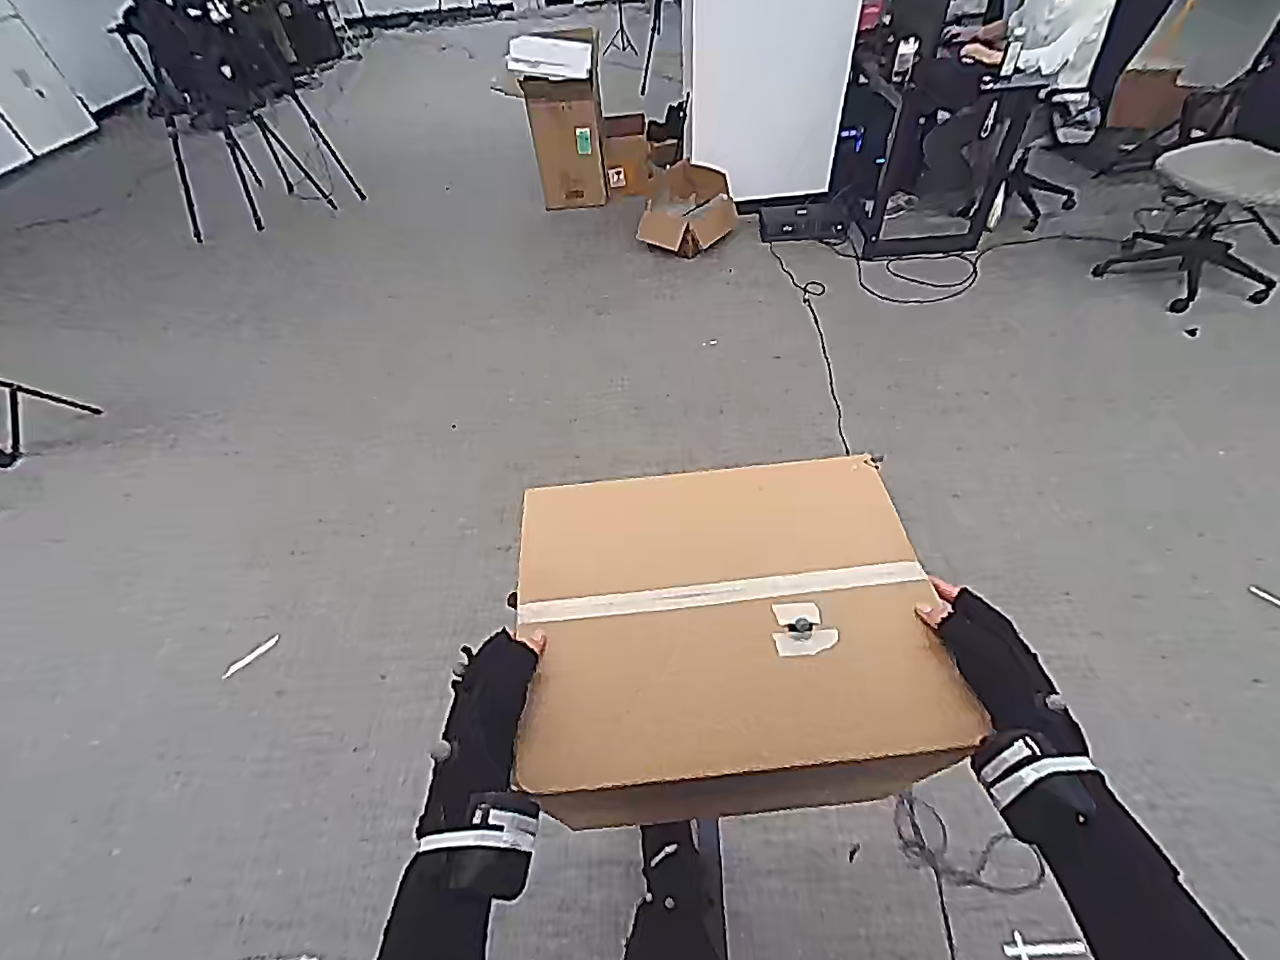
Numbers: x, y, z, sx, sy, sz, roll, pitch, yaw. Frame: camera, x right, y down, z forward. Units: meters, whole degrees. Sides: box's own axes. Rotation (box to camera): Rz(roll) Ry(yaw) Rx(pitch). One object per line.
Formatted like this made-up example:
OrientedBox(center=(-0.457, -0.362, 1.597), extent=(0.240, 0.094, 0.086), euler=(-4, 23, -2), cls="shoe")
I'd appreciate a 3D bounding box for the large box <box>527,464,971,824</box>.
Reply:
OrientedBox(center=(0.088, 0.212, 0.678), extent=(0.408, 0.320, 0.320), euler=(-6, 53, -1), cls="large box")
